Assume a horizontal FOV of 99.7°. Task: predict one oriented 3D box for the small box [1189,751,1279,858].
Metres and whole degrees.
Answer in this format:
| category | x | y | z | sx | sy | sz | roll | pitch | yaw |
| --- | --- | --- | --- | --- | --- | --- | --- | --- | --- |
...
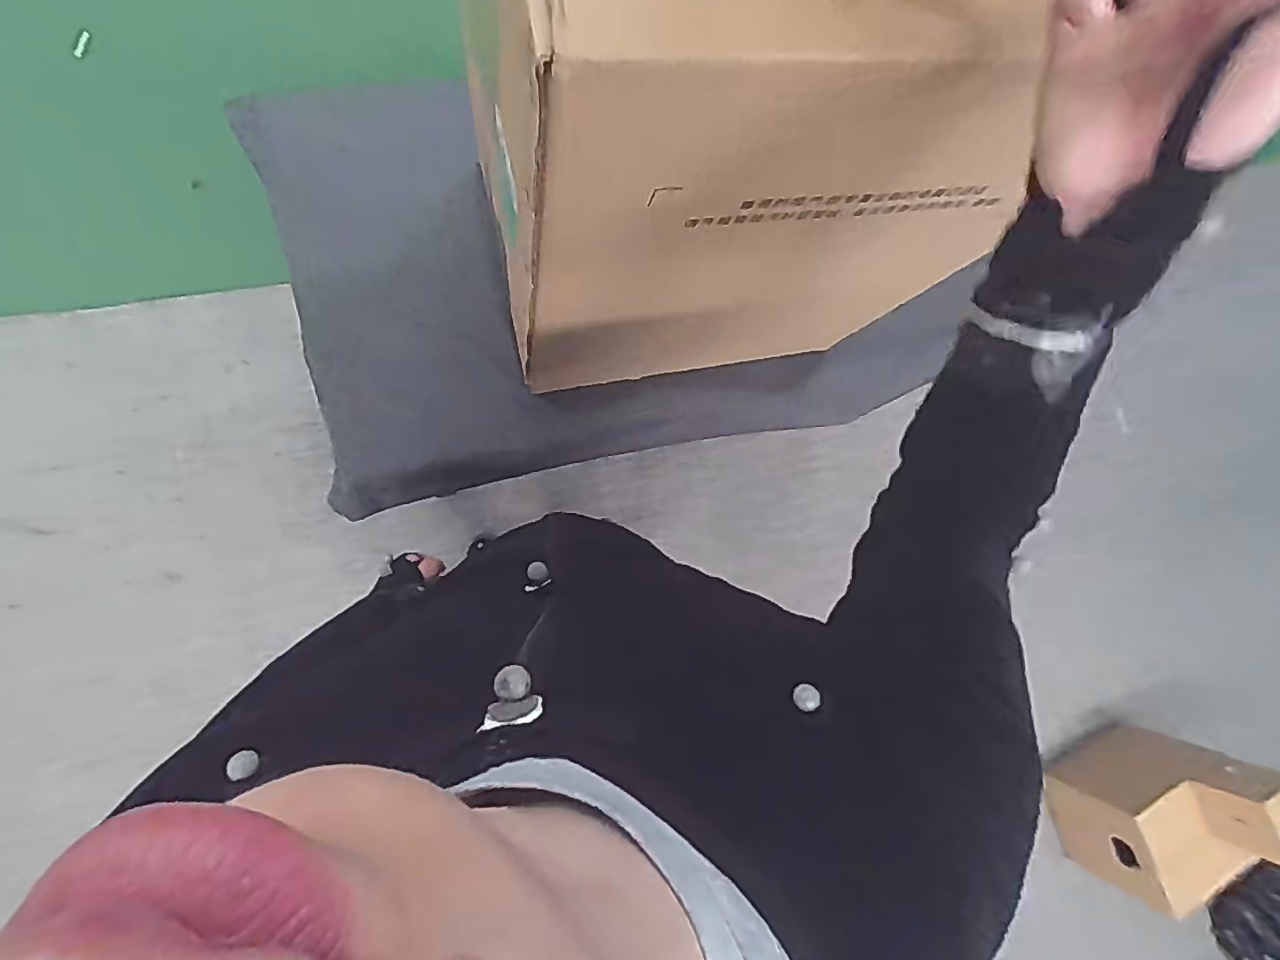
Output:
| category | x | y | z | sx | sy | sz | roll | pitch | yaw |
| --- | --- | --- | --- | --- | --- | --- | --- | --- | --- |
| small box | 1.720 | 0.902 | 1.517 | 0.168 | 0.176 | 0.179 | -19 | 85 | -13 |
